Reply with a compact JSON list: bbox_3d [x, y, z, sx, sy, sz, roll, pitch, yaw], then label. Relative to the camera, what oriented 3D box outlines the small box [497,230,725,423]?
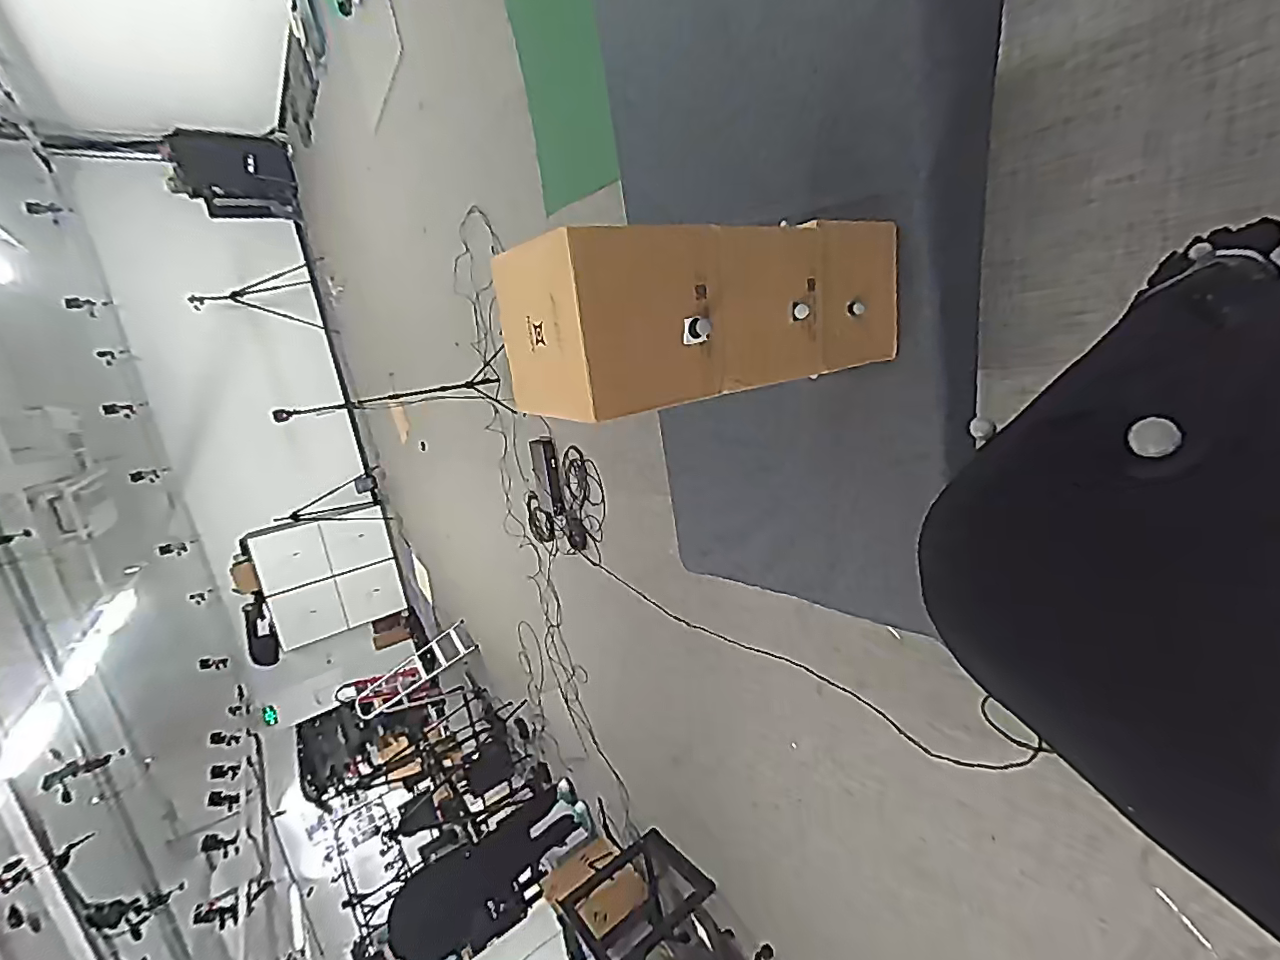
[{"bbox_3d":[-0.031,-0.164,0.581,0.179,0.176,0.168,15,118,53],"label":"small box"}]

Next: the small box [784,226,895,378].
[{"bbox_3d":[0.235,-0.243,0.753,0.168,0.176,0.179,13,116,54],"label":"small box"}]

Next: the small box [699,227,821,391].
[{"bbox_3d":[0.098,-0.204,0.669,0.179,0.176,0.168,14,116,56],"label":"small box"}]
